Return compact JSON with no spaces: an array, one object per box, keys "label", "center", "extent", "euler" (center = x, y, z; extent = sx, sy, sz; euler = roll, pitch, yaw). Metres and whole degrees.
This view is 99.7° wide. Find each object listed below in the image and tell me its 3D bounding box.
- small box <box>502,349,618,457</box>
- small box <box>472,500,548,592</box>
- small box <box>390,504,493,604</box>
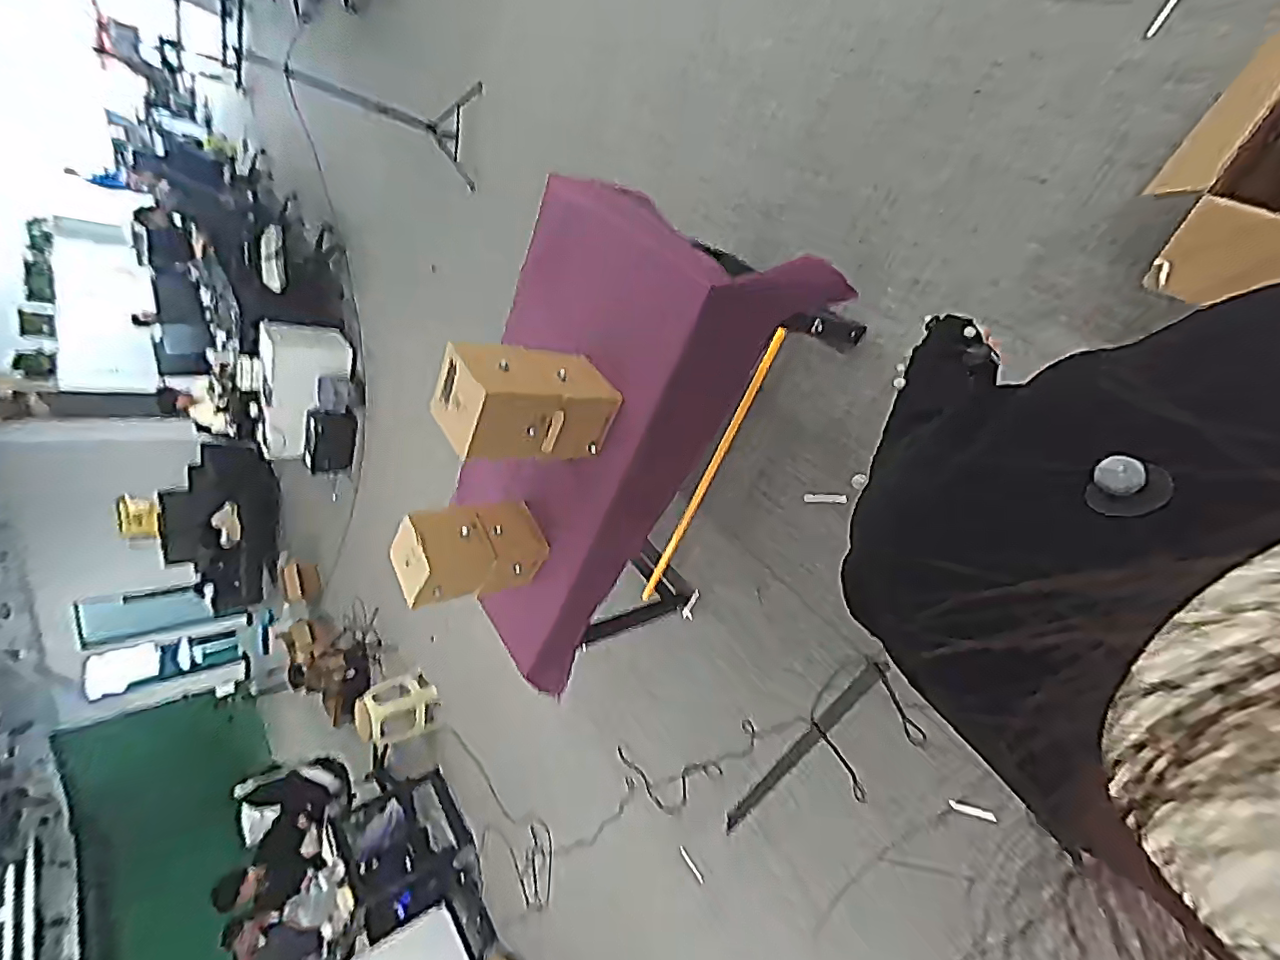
[{"label":"small box","center":[-0.176,-0.172,1.204],"extent":[0.179,0.176,0.168],"euler":[50,127,31]},{"label":"small box","center":[-0.373,0.170,1.449],"extent":[0.179,0.176,0.168],"euler":[56,129,25]},{"label":"small box","center":[-0.488,0.178,1.332],"extent":[0.179,0.176,0.168],"euler":[-51,61,35]}]
